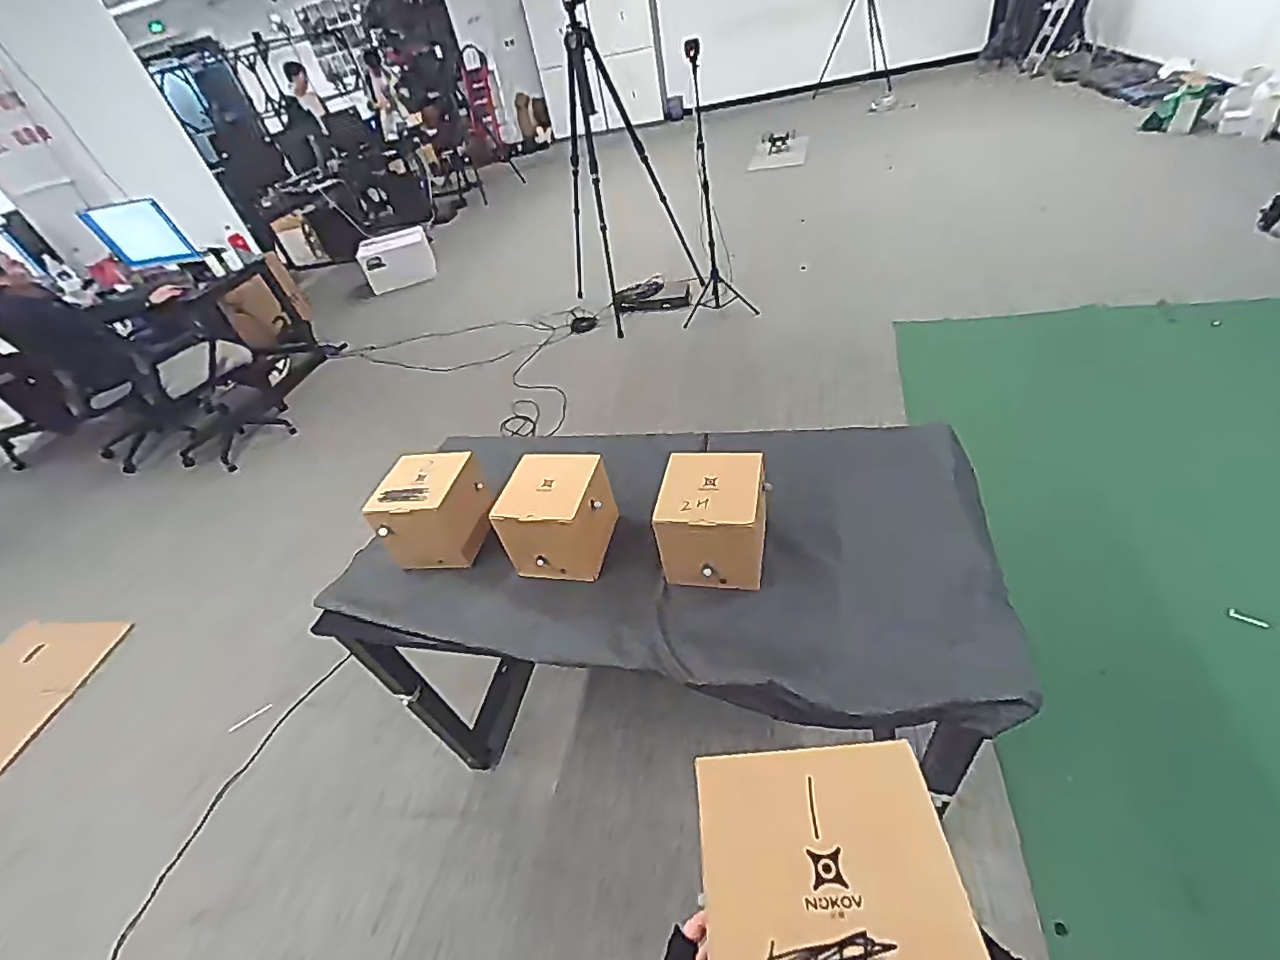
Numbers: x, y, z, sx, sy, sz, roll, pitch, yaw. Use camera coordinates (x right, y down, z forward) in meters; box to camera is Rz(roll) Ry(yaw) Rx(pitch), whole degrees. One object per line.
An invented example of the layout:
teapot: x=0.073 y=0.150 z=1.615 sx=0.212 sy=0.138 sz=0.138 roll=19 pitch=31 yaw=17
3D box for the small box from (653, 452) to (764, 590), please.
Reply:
small box: x=0.130 y=0.070 z=0.960 sx=0.168 sy=0.176 sz=0.179 roll=1 pitch=43 yaw=17

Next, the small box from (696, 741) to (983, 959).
small box: x=0.139 y=0.325 z=0.409 sx=0.168 sy=0.176 sz=0.179 roll=-8 pitch=41 yaw=8

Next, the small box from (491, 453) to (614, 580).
small box: x=-0.157 y=0.067 z=1.042 sx=0.168 sy=0.176 sz=0.179 roll=2 pitch=44 yaw=16
